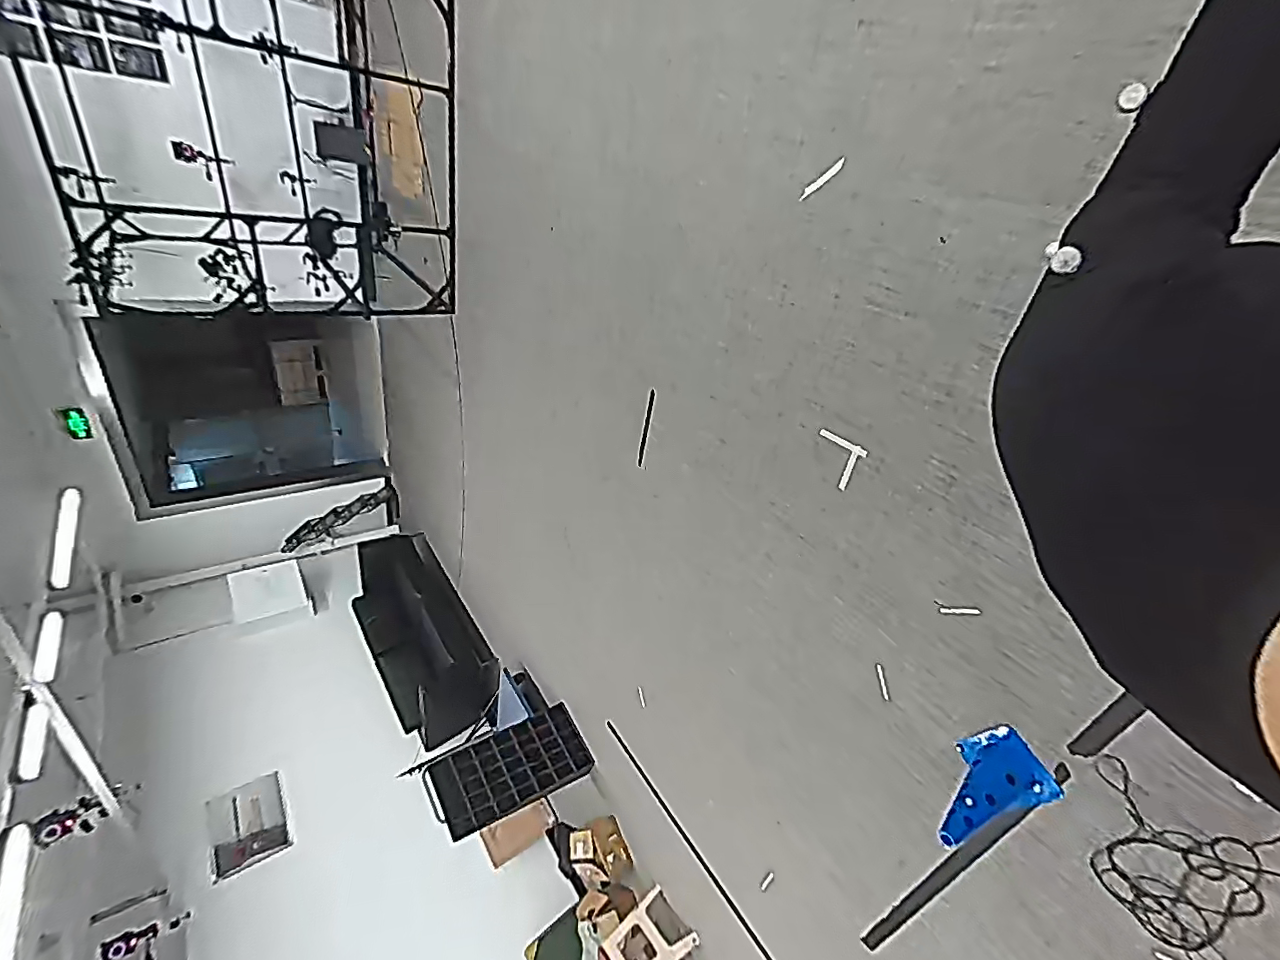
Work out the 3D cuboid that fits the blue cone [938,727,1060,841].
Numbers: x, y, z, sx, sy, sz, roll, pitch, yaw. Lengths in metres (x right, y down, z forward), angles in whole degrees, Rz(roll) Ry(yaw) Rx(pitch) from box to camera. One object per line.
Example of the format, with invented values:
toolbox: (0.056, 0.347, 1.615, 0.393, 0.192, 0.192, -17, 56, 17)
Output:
blue cone: (0.899, 0.823, 1.415, 0.193, 0.380, 0.192, 60, 142, 24)
